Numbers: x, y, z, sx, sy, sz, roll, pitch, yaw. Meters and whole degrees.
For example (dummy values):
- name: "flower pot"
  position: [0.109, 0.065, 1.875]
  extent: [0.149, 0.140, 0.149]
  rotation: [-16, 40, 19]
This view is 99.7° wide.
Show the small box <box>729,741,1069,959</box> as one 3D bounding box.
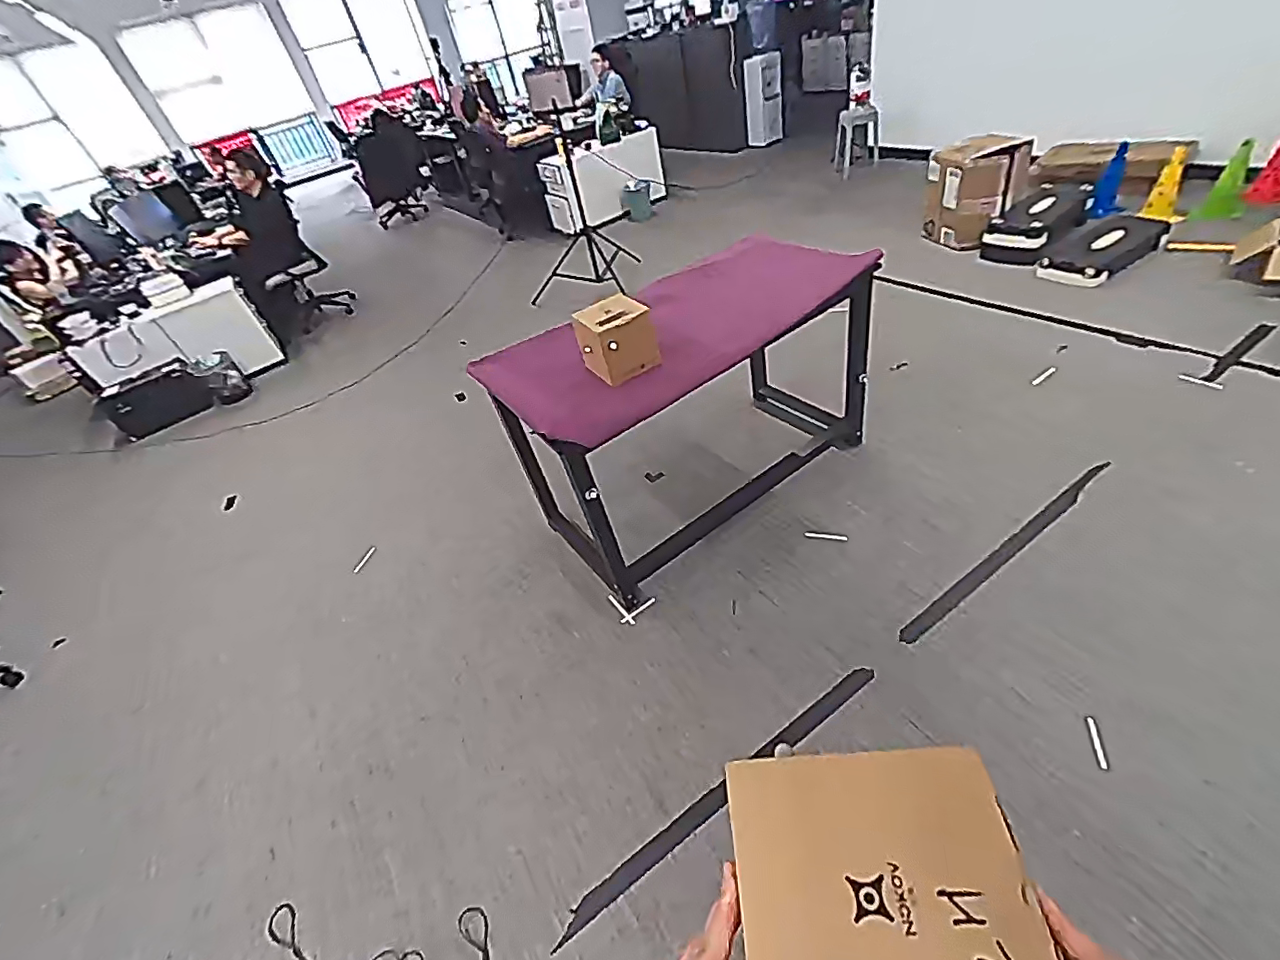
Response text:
- name: "small box"
  position: [0.165, 0.300, 0.388]
  extent: [0.179, 0.176, 0.168]
  rotation: [-7, 51, 7]
